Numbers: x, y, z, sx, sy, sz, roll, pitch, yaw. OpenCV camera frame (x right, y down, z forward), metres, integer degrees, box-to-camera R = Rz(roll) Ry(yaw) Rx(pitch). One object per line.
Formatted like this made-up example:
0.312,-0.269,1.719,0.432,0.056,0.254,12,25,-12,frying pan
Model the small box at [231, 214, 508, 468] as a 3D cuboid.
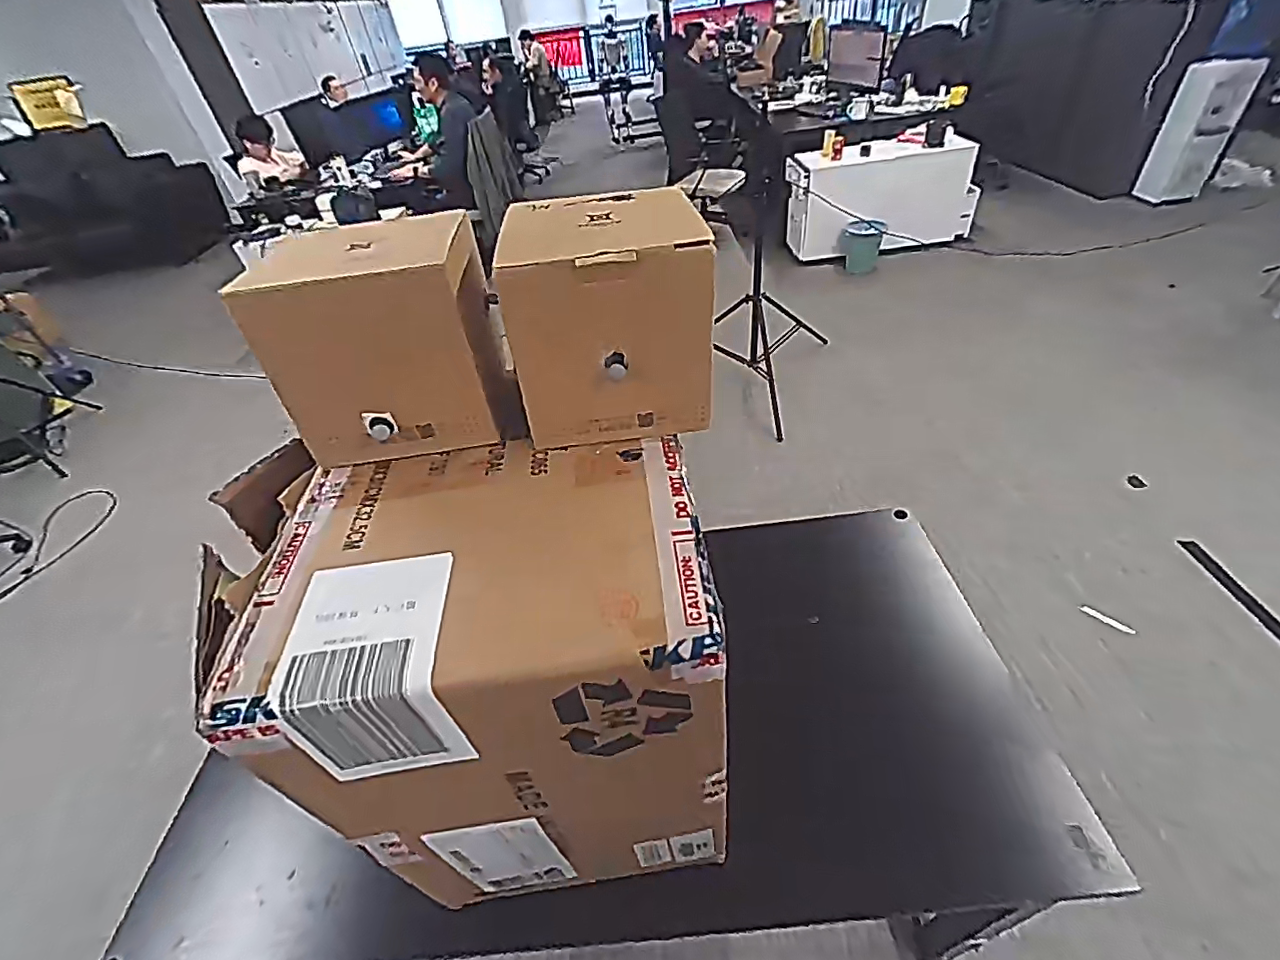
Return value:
-0.230,-0.136,0.518,0.168,0.176,0.179,-11,40,-4,small box
